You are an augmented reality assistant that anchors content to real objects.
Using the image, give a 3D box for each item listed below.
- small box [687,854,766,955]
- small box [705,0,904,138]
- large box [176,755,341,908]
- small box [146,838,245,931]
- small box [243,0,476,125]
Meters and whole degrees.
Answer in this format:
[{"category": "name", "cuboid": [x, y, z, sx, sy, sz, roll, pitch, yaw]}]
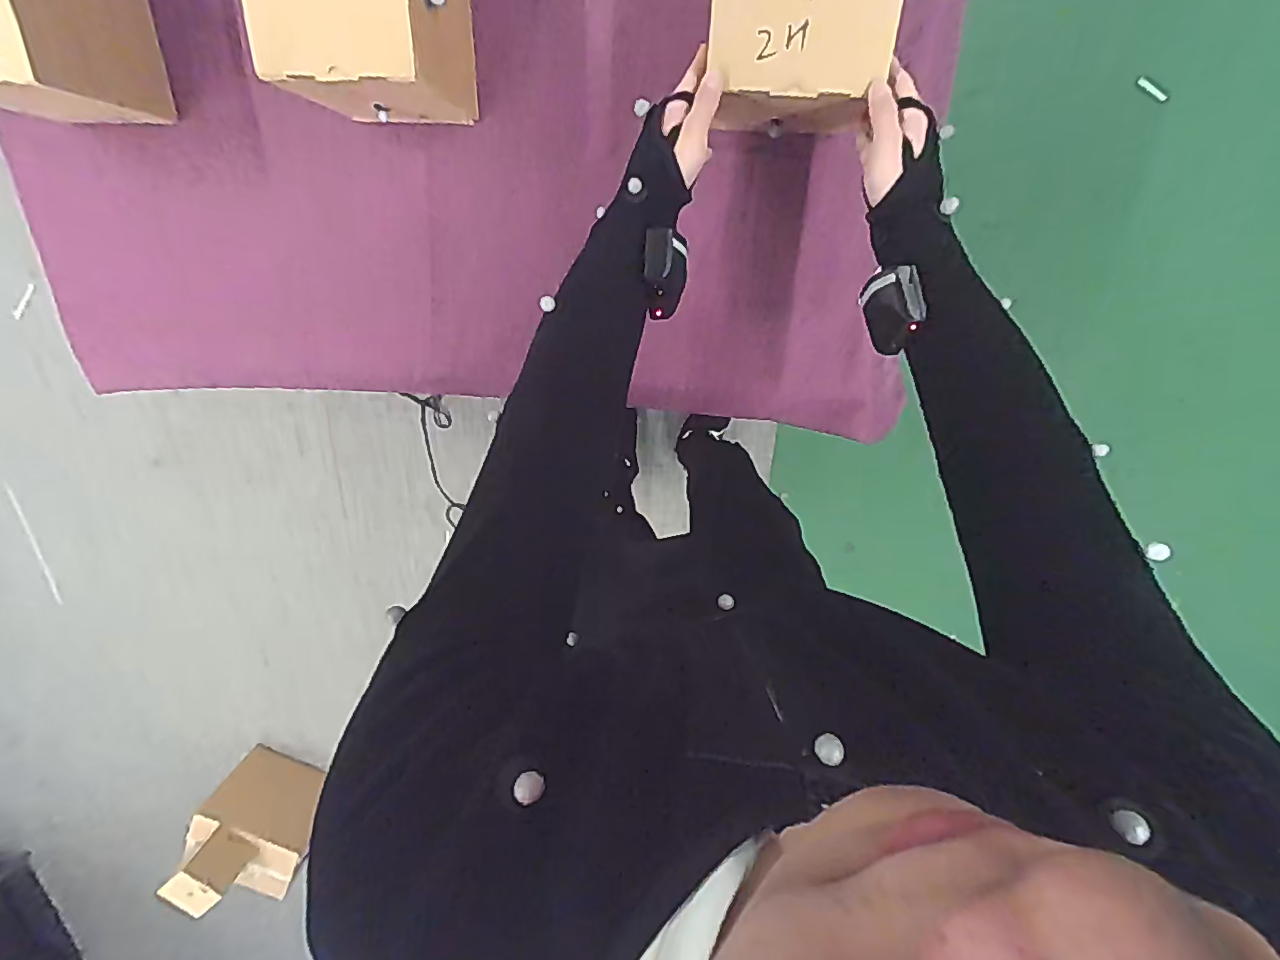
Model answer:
[{"category": "small box", "cuboid": [0.261, 1.297, 1.667, 0.179, 0.176, 0.168, 41, 110, -11]}, {"category": "small box", "cuboid": [0.155, -0.464, 0.540, 0.168, 0.176, 0.179, 5, 113, 4]}, {"category": "large box", "cuboid": [-1.472, 1.357, 2.107, 0.408, 0.320, 0.320, 26, 112, -6]}, {"category": "small box", "cuboid": [-1.516, 1.382, 1.855, 0.179, 0.176, 0.168, -41, 103, 17]}, {"category": "small box", "cuboid": [-0.284, -0.498, 0.568, 0.168, 0.176, 0.179, 4, 113, 3]}]
